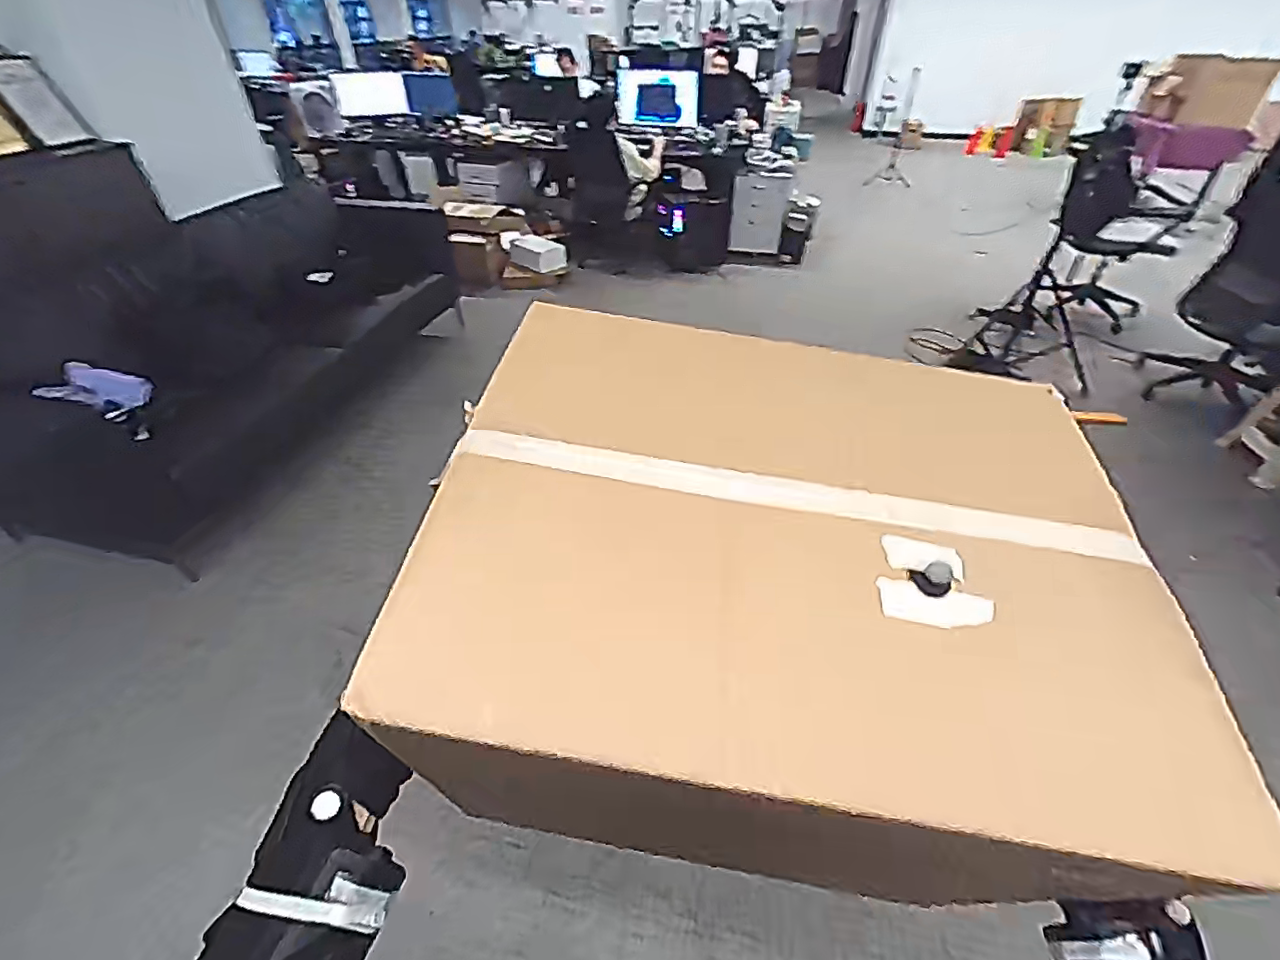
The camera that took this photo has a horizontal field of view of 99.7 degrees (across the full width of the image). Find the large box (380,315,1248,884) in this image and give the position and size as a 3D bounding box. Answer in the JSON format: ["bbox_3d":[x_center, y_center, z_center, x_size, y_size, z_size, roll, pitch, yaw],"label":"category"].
[{"bbox_3d":[0.080,0.108,0.448,0.408,0.320,0.320,10,52,1],"label":"large box"}]
